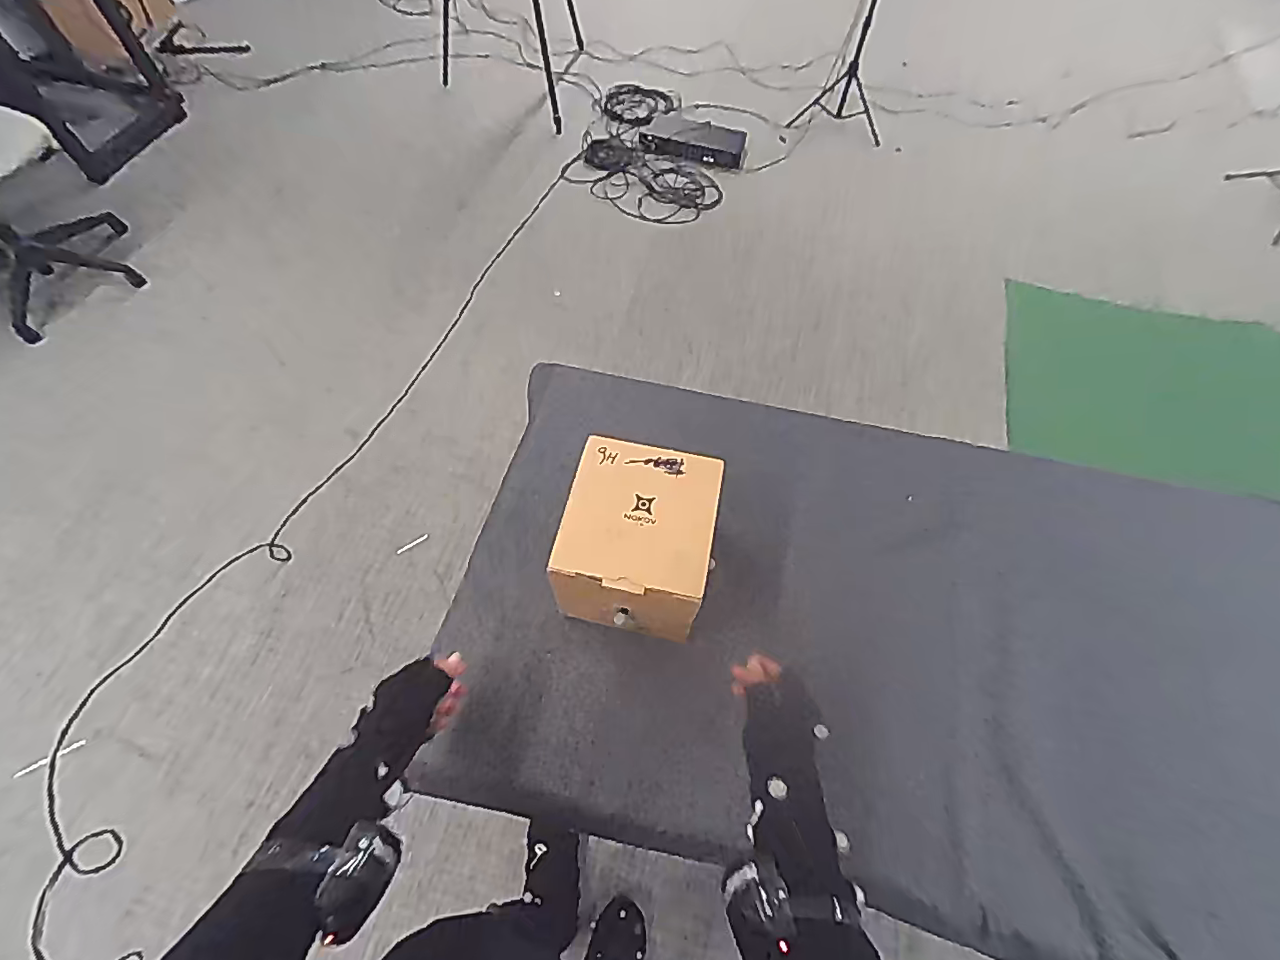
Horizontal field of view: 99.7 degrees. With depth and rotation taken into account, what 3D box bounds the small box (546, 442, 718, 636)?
[{"bbox_3d":[-0.004,0.080,0.672,0.168,0.176,0.179,10,61,5],"label":"small box"}]
